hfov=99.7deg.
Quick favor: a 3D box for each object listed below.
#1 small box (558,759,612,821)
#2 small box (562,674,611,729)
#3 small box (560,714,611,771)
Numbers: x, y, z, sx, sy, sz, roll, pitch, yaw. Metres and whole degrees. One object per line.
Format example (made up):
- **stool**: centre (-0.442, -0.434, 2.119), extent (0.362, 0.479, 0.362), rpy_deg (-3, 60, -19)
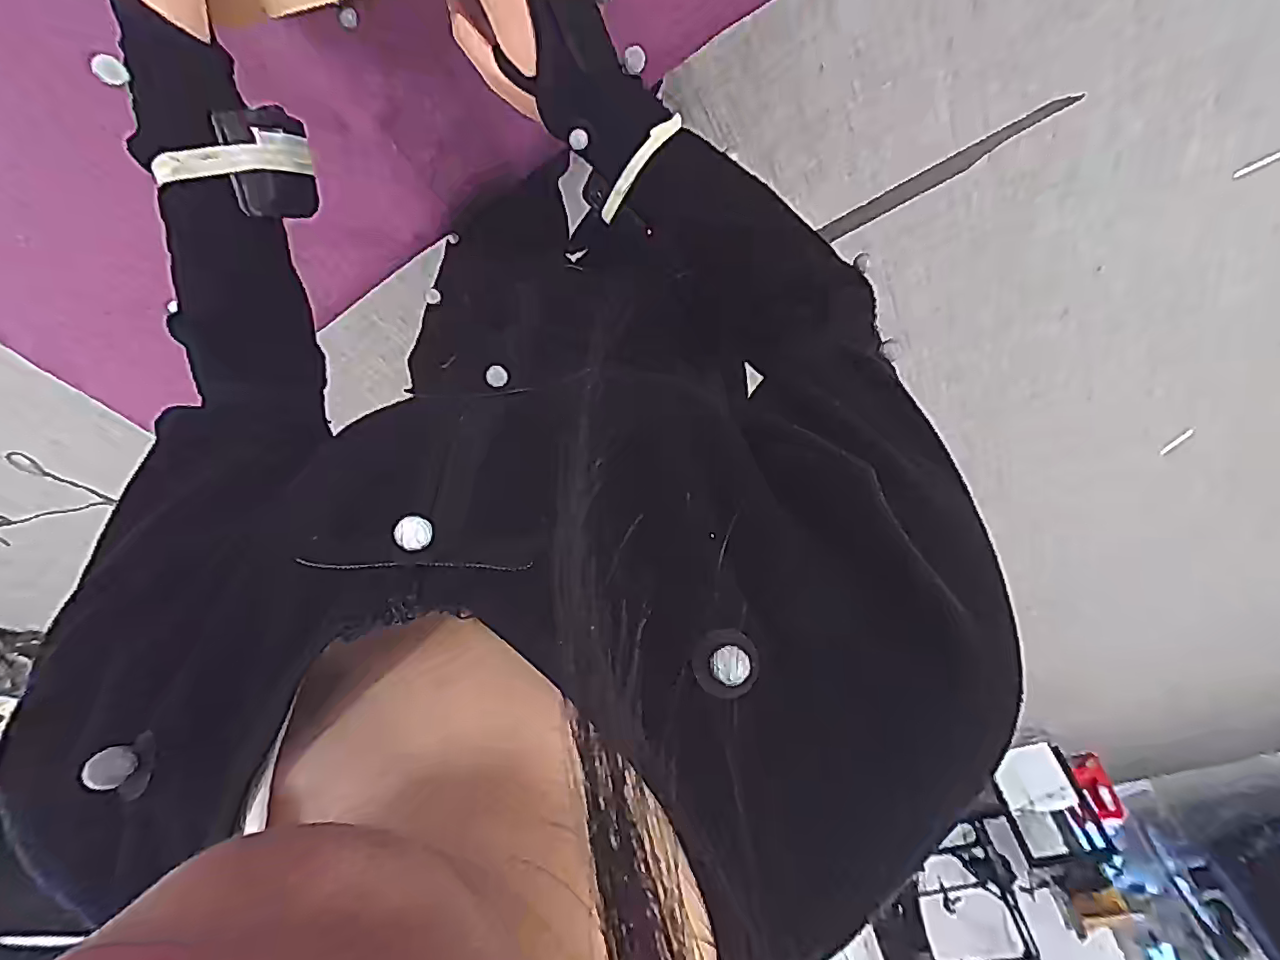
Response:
- **small box**: centre (-0.209, 1.167, 2.037), extent (0.168, 0.176, 0.179), rpy_deg (11, 133, -15)
- **small box**: centre (-0.223, 0.938, 2.271), extent (0.168, 0.176, 0.179), rpy_deg (11, 132, -15)
- **small box**: centre (-0.215, 1.055, 2.156), extent (0.168, 0.176, 0.179), rpy_deg (11, 133, -15)
